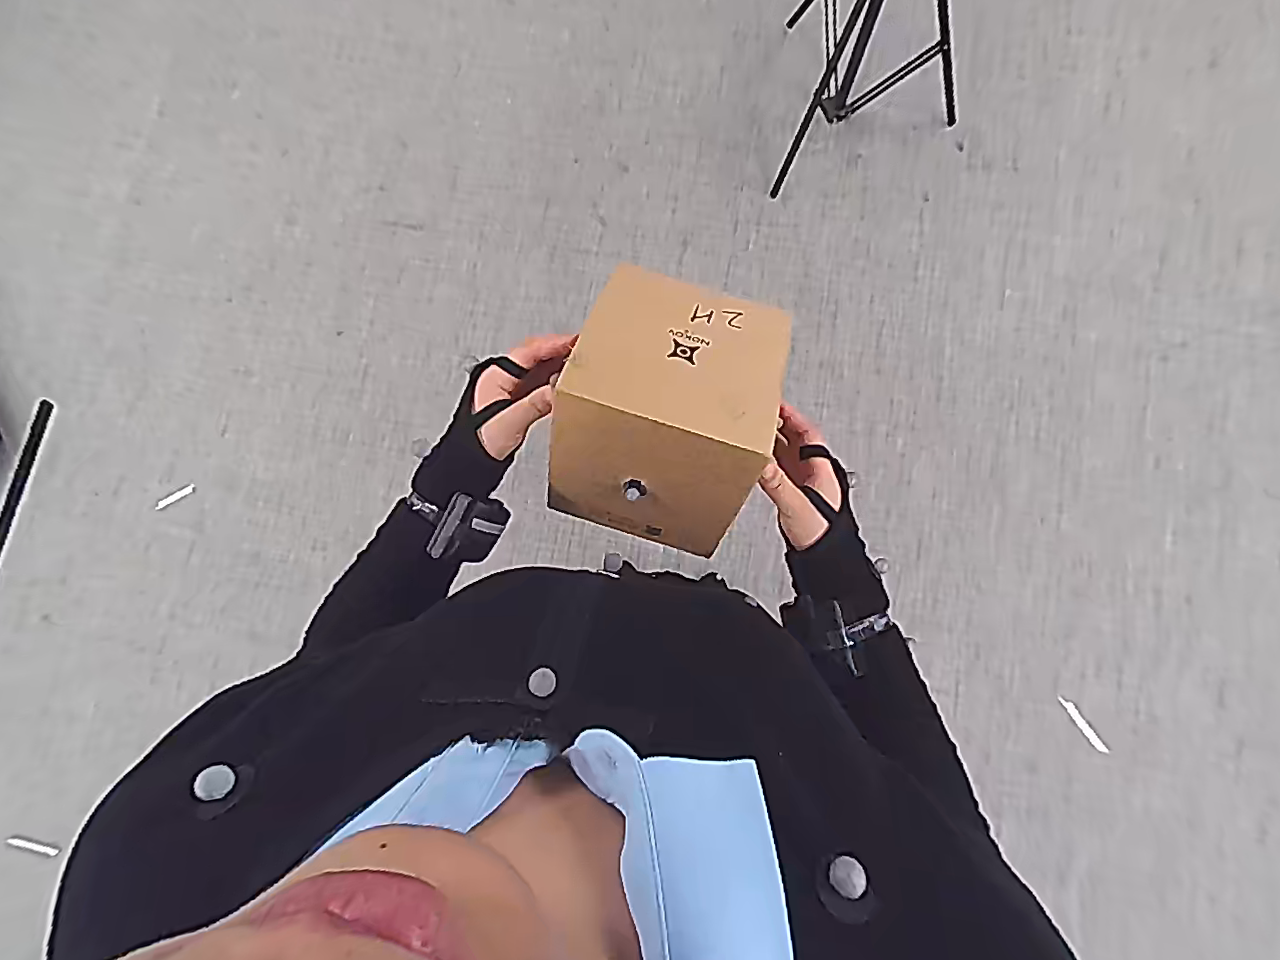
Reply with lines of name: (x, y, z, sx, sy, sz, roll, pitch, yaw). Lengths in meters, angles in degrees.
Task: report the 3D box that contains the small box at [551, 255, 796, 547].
small box: (0.025, -0.064, 0.492, 0.168, 0.176, 0.179, 18, 54, 1)
